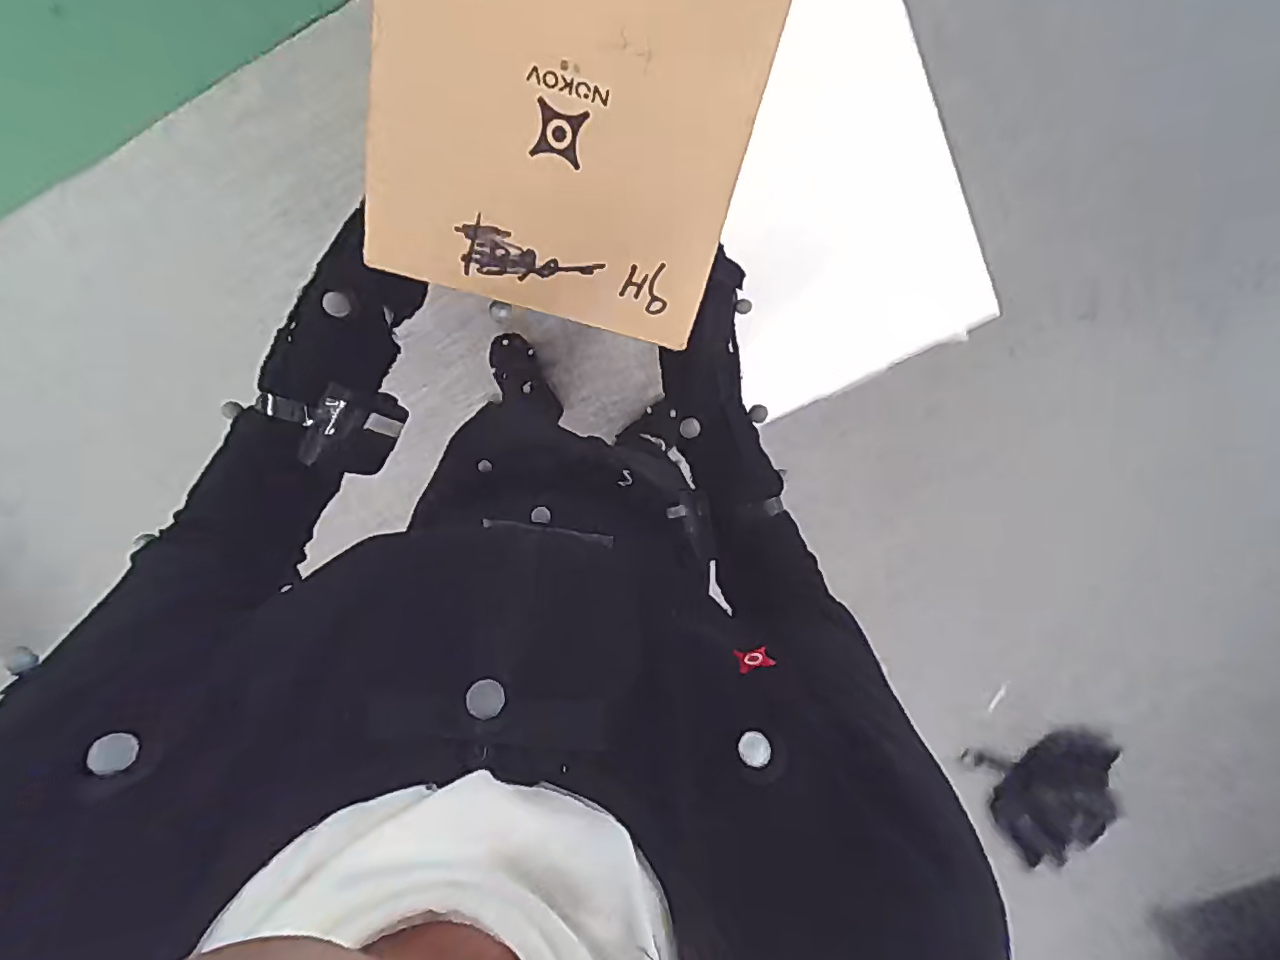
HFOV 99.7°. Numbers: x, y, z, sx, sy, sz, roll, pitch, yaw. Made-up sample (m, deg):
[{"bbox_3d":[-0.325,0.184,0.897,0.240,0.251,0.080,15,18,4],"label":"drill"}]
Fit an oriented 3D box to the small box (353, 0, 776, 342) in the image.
[{"bbox_3d":[-0.040,-0.199,0.311,0.168,0.176,0.179,13,115,-7],"label":"small box"}]
